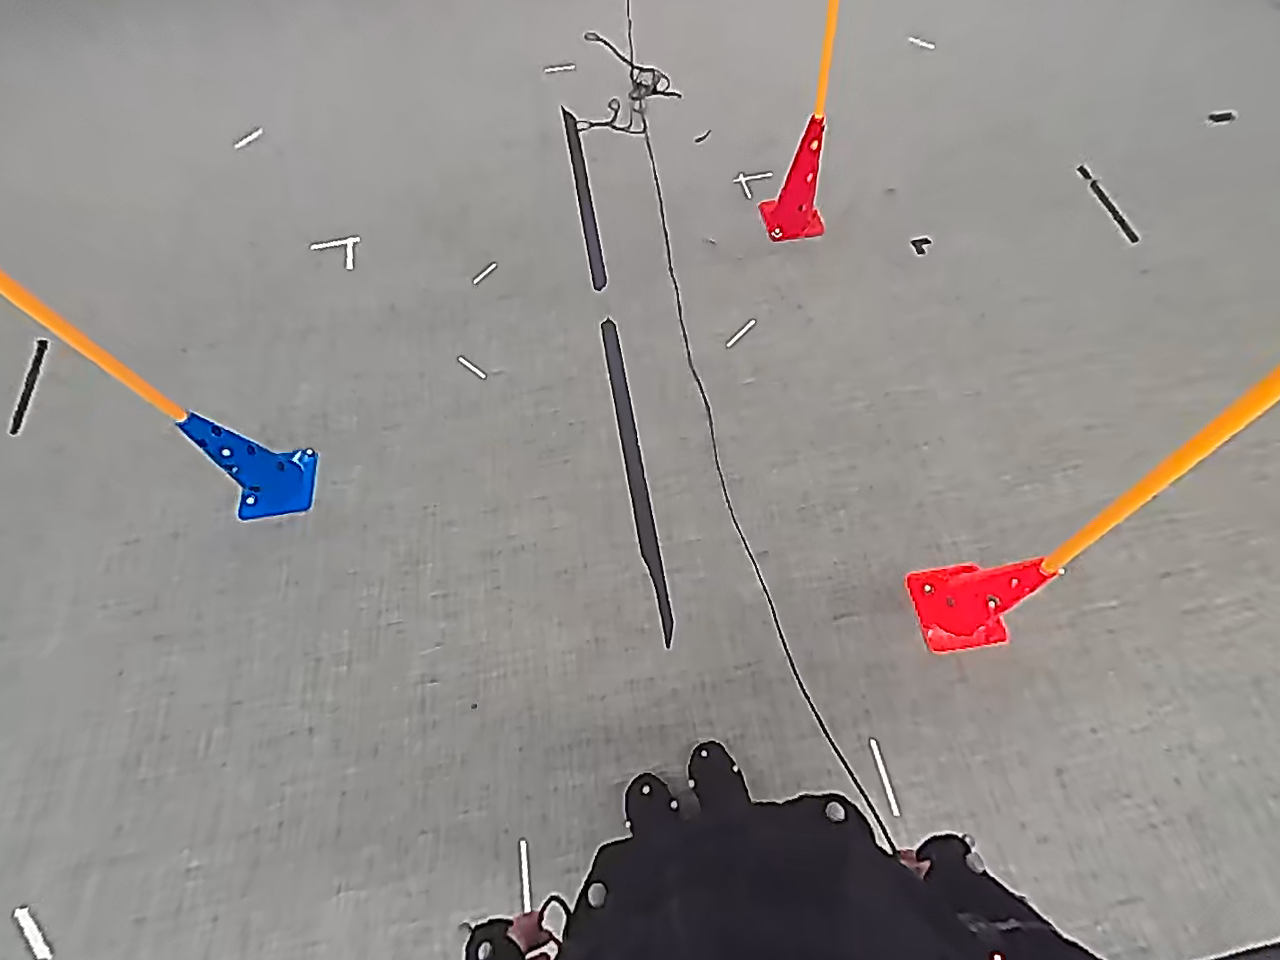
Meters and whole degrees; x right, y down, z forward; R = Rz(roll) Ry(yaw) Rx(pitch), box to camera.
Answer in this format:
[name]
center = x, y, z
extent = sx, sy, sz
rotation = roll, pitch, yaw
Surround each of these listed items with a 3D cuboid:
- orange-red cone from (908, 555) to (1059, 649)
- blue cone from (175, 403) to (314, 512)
[orange-red cone]
center = 0.774, 0.233, 1.173
extent = 0.198, 0.360, 0.199
rotation = -7, 65, -1
[blue cone]
center = -1.034, -0.072, 1.391
extent = 0.193, 0.380, 0.192
rotation = -7, 64, -2
